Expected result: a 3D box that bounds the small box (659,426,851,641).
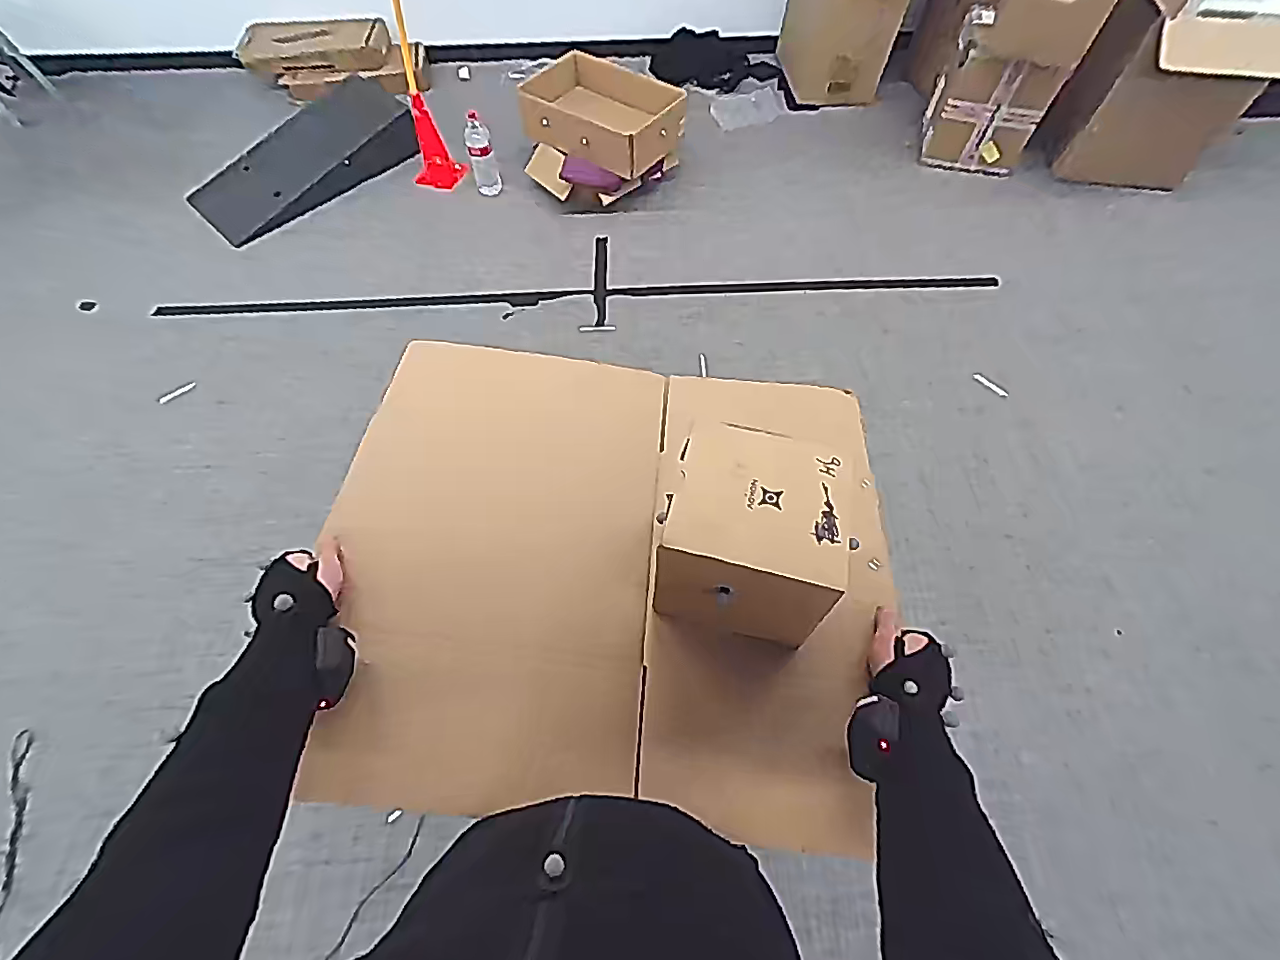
[{"bbox_3d":[0.123,0.066,0.613,0.179,0.176,0.168,12,57,9],"label":"small box"}]
